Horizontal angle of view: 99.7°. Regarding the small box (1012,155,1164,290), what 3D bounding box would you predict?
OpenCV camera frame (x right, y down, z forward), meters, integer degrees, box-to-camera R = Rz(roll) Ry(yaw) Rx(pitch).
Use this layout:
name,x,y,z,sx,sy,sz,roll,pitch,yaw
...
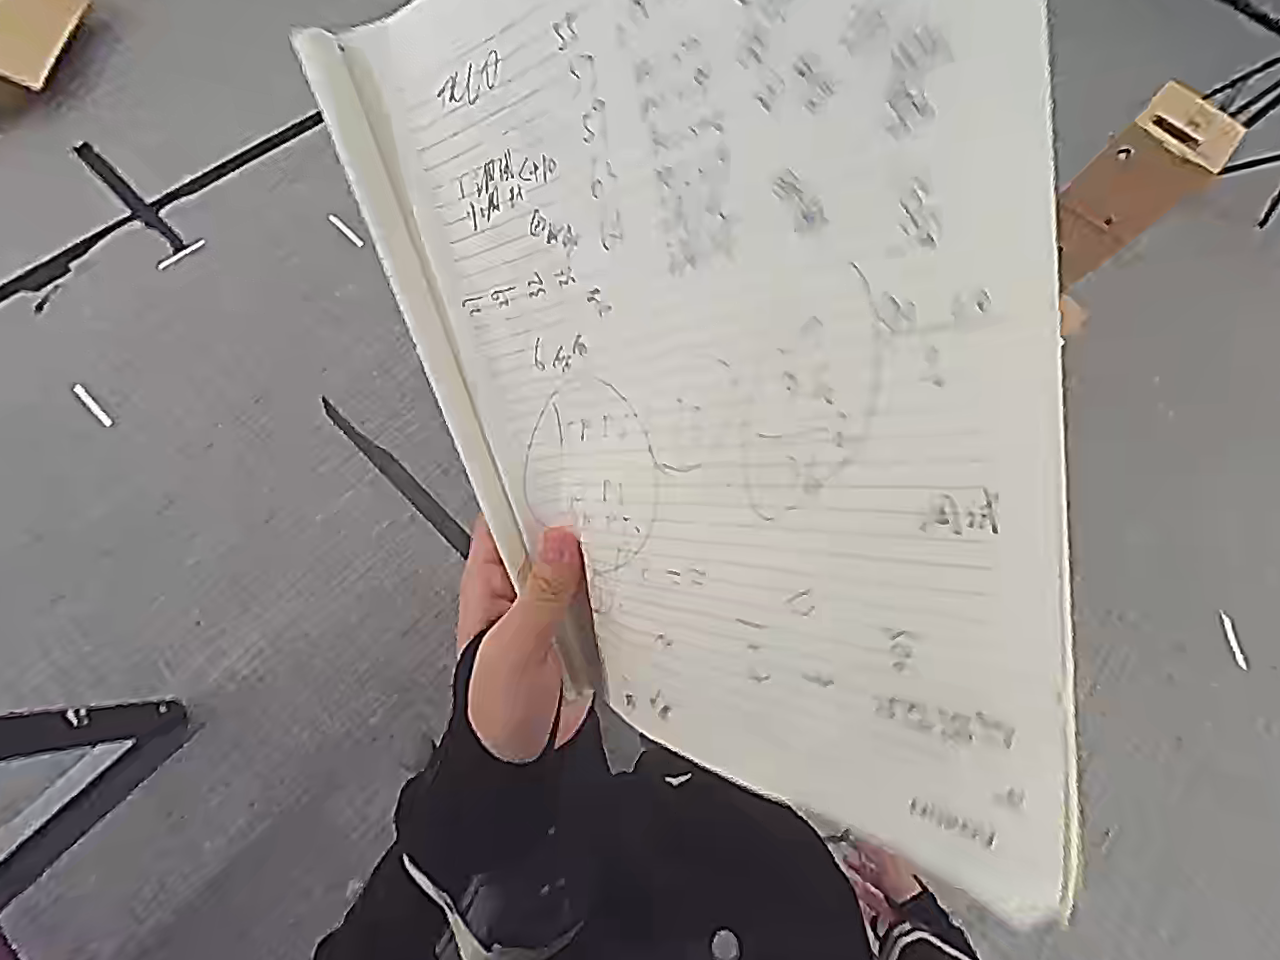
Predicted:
name,x,y,z,sx,sy,sz,roll,pitch,yaw
small box,0.974,-0.560,1.196,0.179,0.176,0.168,-43,81,-16

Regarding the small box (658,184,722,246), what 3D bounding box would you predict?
name,x,y,z,sx,sy,sz,roll,pitch,yaw
small box,0.152,-0.872,1.705,0.168,0.176,0.179,-1,72,-6

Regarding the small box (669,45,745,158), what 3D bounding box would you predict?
name,x,y,z,sx,sy,sz,roll,pitch,yaw
small box,0.167,-0.966,1.392,0.168,0.176,0.179,2,70,-5

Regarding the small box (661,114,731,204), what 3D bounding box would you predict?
name,x,y,z,sx,sy,sz,roll,pitch,yaw
small box,0.156,-0.922,1.547,0.168,0.176,0.179,0,71,-7
